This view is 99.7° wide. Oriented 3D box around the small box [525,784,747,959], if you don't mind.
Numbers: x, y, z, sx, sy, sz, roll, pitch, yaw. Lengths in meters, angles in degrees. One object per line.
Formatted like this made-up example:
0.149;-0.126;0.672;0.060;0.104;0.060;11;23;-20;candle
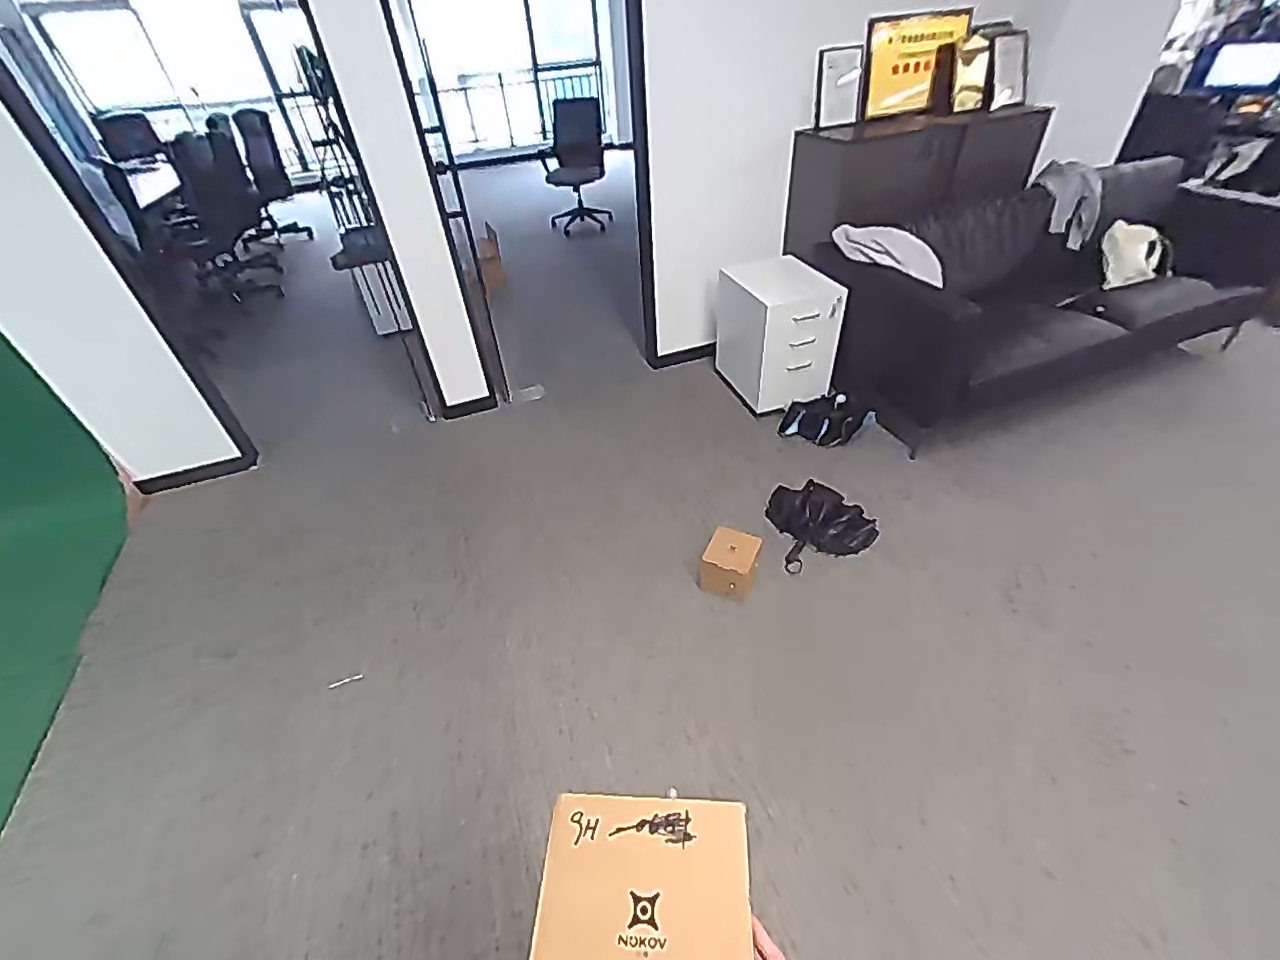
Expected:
0.006;0.386;0.465;0.168;0.176;0.179;0;45;6;small box
